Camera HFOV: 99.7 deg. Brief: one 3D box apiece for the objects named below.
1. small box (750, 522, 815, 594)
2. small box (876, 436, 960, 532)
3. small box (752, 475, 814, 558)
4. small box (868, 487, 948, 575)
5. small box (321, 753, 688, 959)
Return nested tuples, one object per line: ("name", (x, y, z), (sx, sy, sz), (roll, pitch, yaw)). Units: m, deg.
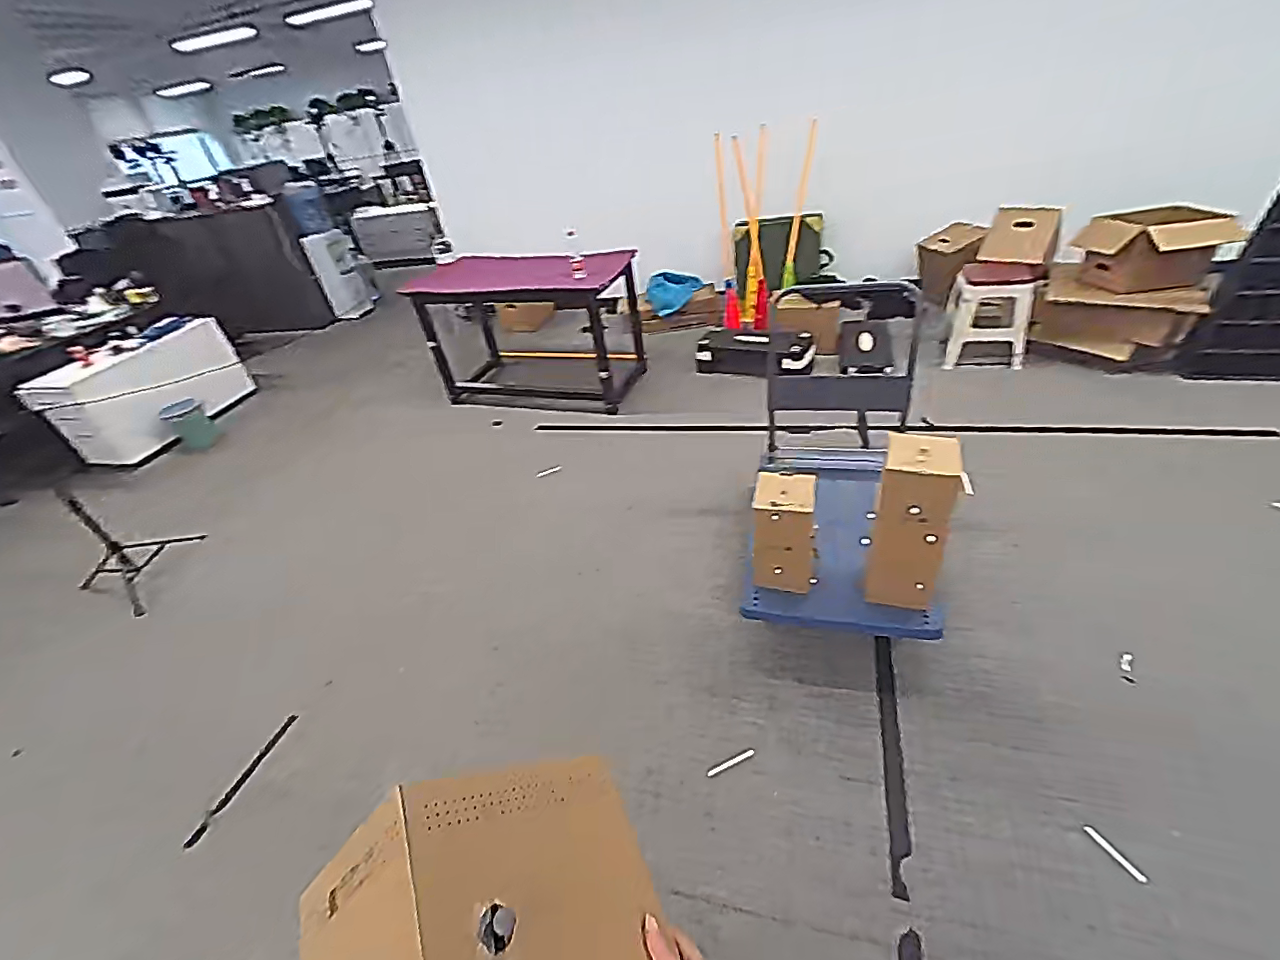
("small box", (0.450, 0.238, 1.705), (0.179, 0.176, 0.168), (5, 38, 20))
("small box", (0.716, 0.008, 1.404), (0.168, 0.176, 0.179), (8, 39, 22))
("small box", (0.425, 0.106, 1.610), (0.168, 0.176, 0.179), (4, 37, 18))
("small box", (0.735, 0.142, 1.498), (0.179, 0.176, 0.168), (7, 39, 20))
("small box", (-0.099, 0.316, 0.375), (0.179, 0.168, 0.176), (19, 31, -44))
